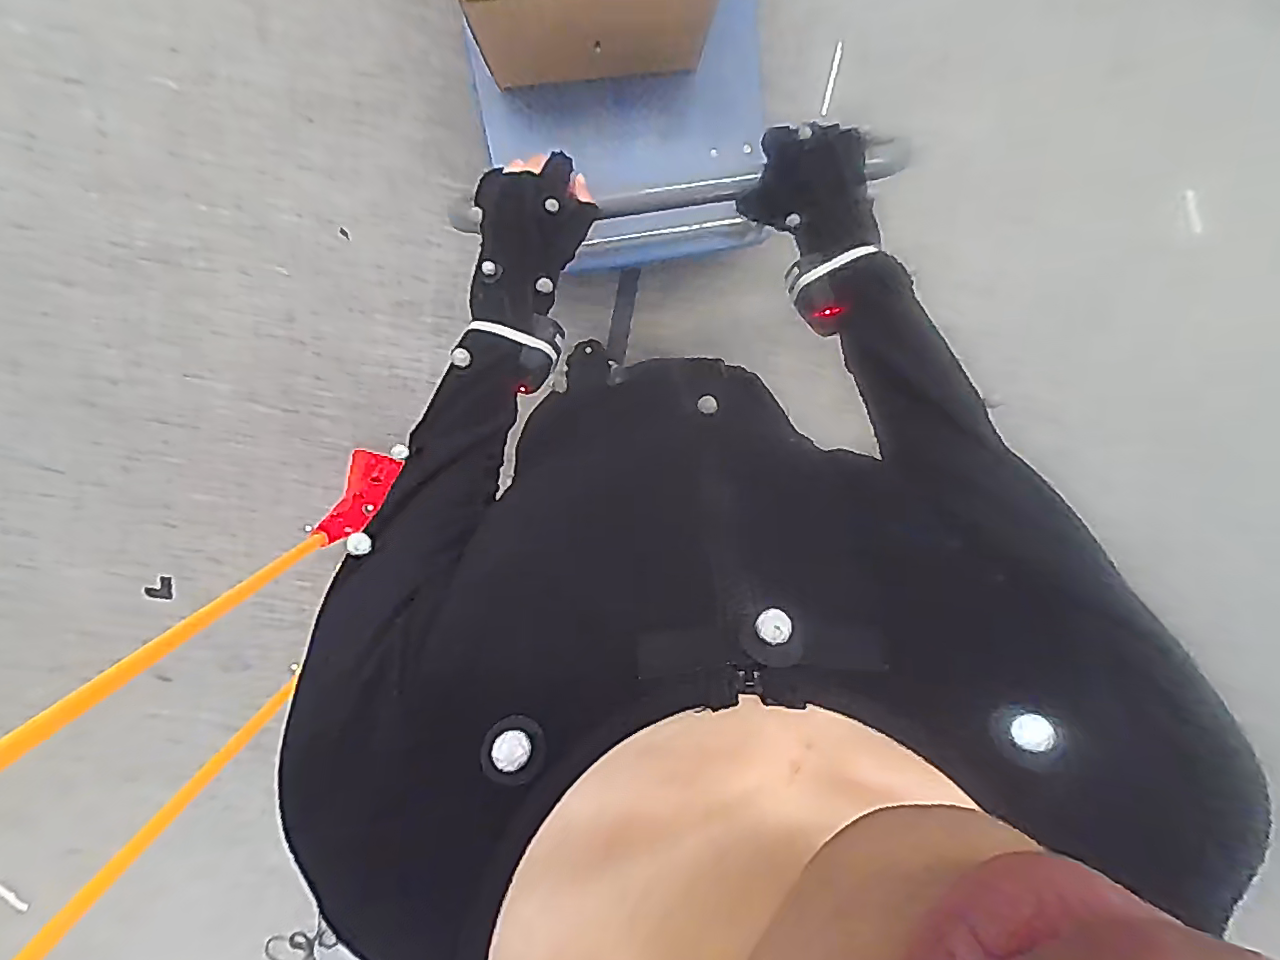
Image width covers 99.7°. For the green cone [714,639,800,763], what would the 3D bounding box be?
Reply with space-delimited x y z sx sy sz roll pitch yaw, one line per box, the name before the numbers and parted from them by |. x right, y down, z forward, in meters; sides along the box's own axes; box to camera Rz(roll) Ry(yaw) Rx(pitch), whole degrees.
green cone | 0.354 0.633 1.492 0.202 0.368 0.200 13 104 -7

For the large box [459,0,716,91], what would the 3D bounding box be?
large box | -0.095 -0.913 0.910 0.408 0.320 0.320 -7 105 0

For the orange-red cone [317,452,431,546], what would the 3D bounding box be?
orange-red cone | -0.668 0.077 1.295 0.198 0.360 0.199 17 102 -8
